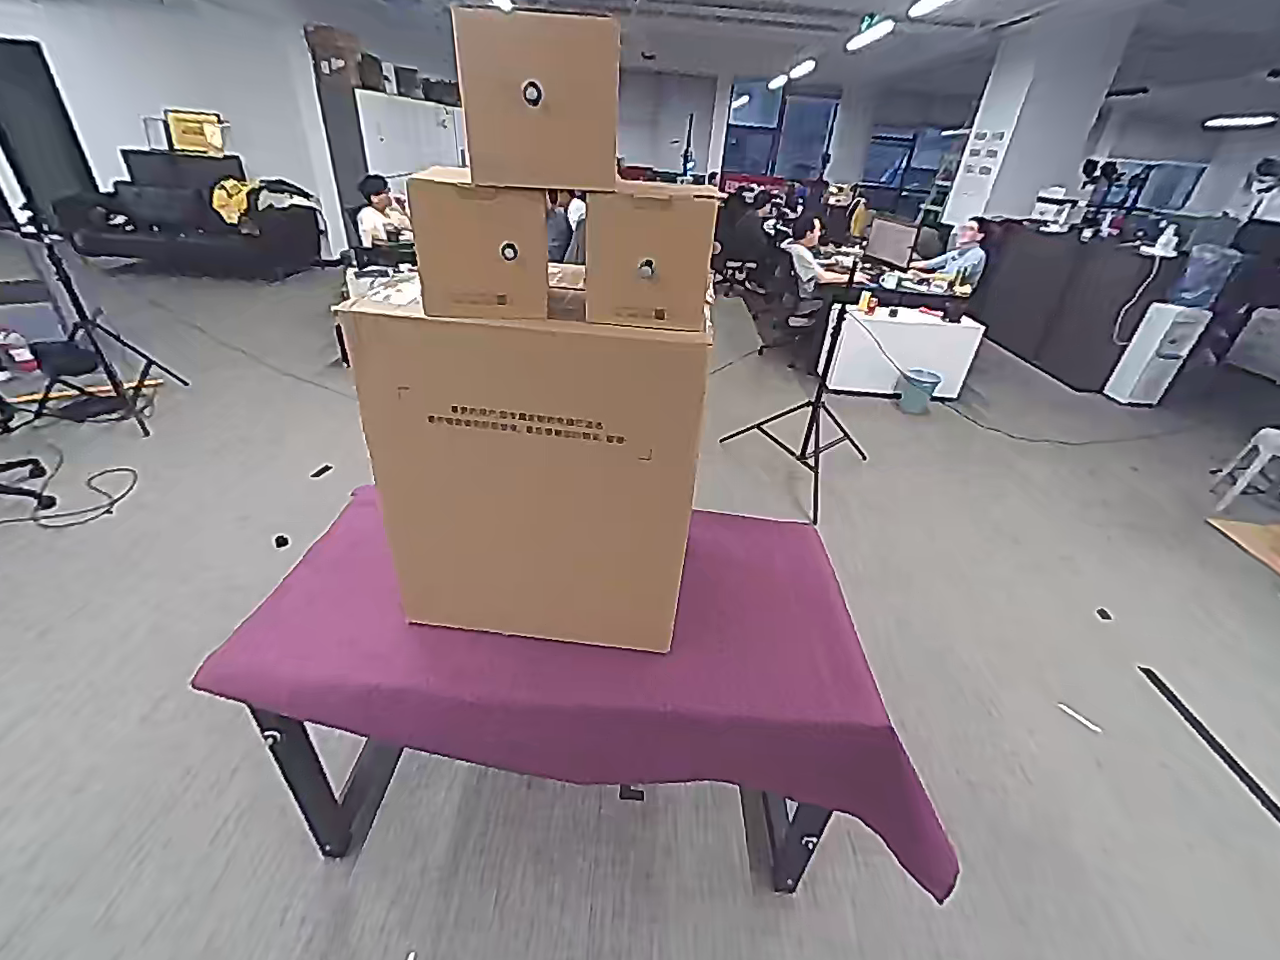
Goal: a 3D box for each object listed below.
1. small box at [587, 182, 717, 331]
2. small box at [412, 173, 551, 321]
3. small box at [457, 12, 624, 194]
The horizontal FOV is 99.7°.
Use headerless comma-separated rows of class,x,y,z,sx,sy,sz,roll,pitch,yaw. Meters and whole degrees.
small box,0.020,-0.324,0.782,0.168,0.176,0.179,6,33,2
small box,-0.212,-0.334,0.775,0.168,0.176,0.179,0,32,-10
small box,-0.112,-0.462,0.679,0.179,0.176,0.168,0,33,-4
